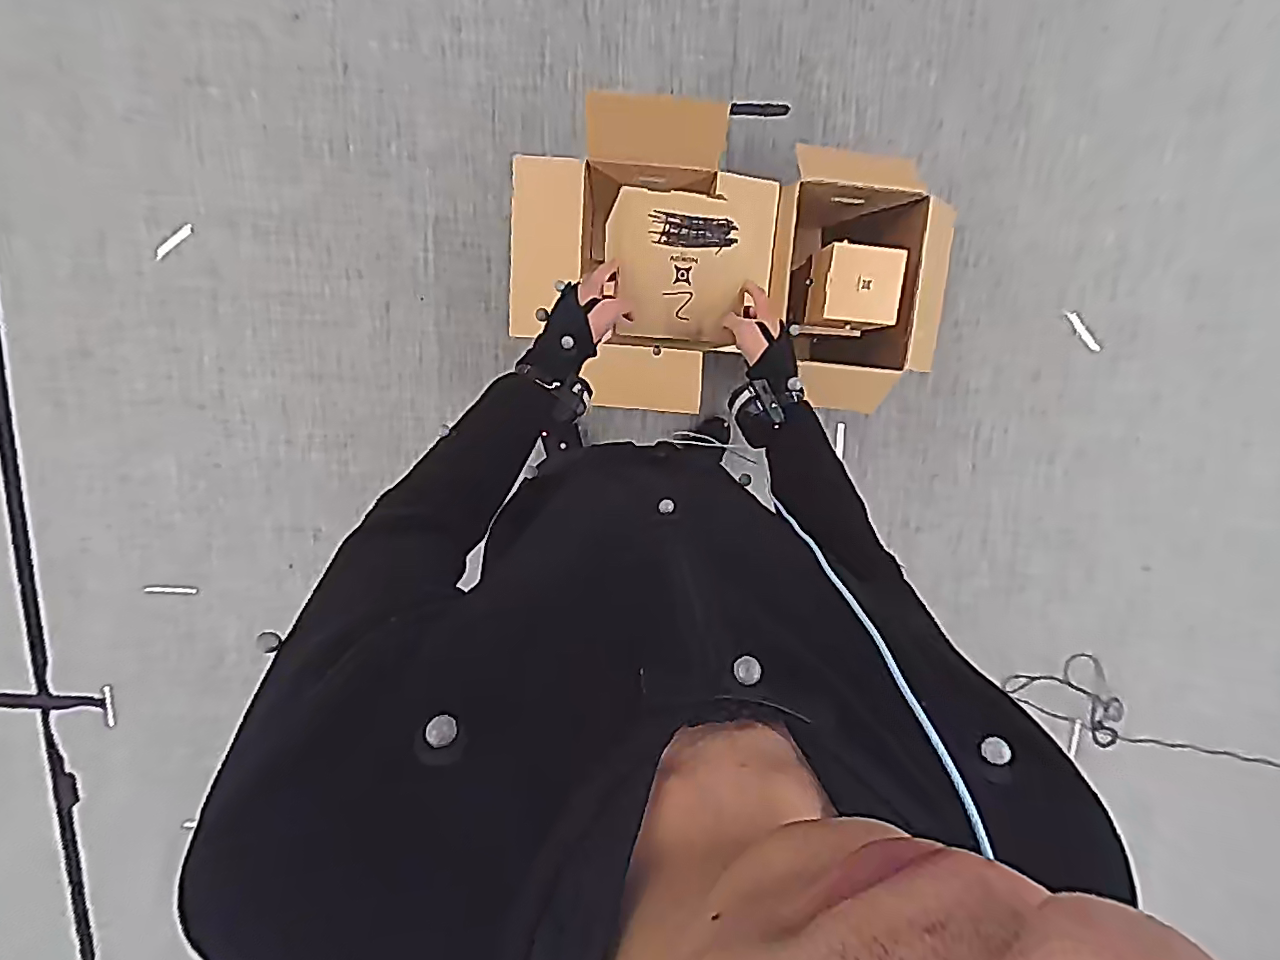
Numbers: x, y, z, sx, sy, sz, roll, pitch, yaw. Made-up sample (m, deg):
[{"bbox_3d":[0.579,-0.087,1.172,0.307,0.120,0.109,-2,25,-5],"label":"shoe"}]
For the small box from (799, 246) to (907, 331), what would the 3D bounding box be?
[{"bbox_3d":[0.505,-0.455,1.306,0.179,0.176,0.168,4,101,-3],"label":"small box"}]
